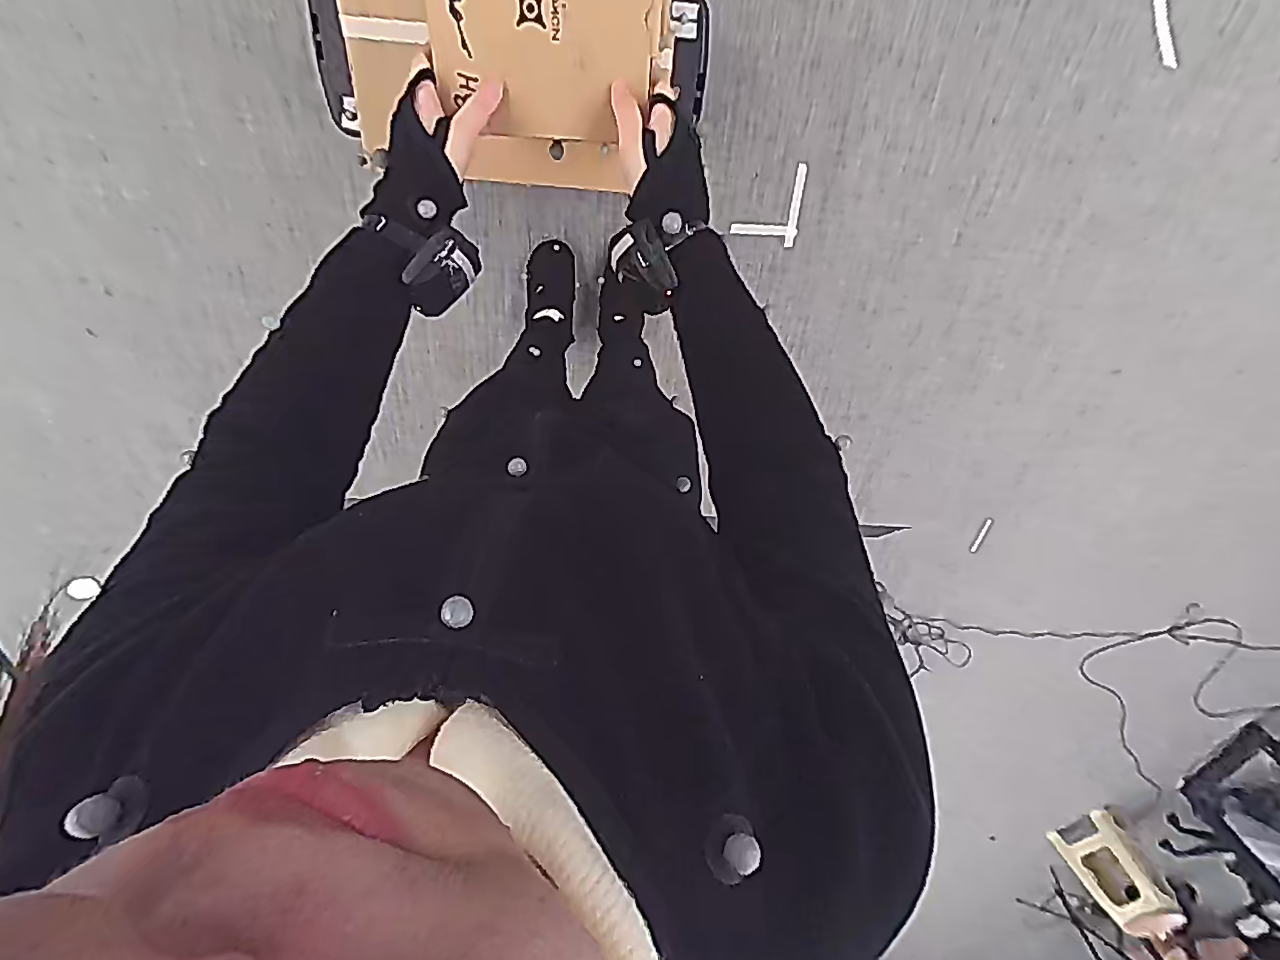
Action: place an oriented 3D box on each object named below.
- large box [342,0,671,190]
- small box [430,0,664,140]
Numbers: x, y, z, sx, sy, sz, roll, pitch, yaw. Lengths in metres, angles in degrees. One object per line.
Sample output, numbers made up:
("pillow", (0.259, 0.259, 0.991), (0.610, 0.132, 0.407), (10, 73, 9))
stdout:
("large box", (-0.168, -0.631, 0.800), (0.408, 0.320, 0.320), (2, 122, -4))
("small box", (-0.074, -0.399, 0.470), (0.179, 0.176, 0.168), (1, 121, -5))
